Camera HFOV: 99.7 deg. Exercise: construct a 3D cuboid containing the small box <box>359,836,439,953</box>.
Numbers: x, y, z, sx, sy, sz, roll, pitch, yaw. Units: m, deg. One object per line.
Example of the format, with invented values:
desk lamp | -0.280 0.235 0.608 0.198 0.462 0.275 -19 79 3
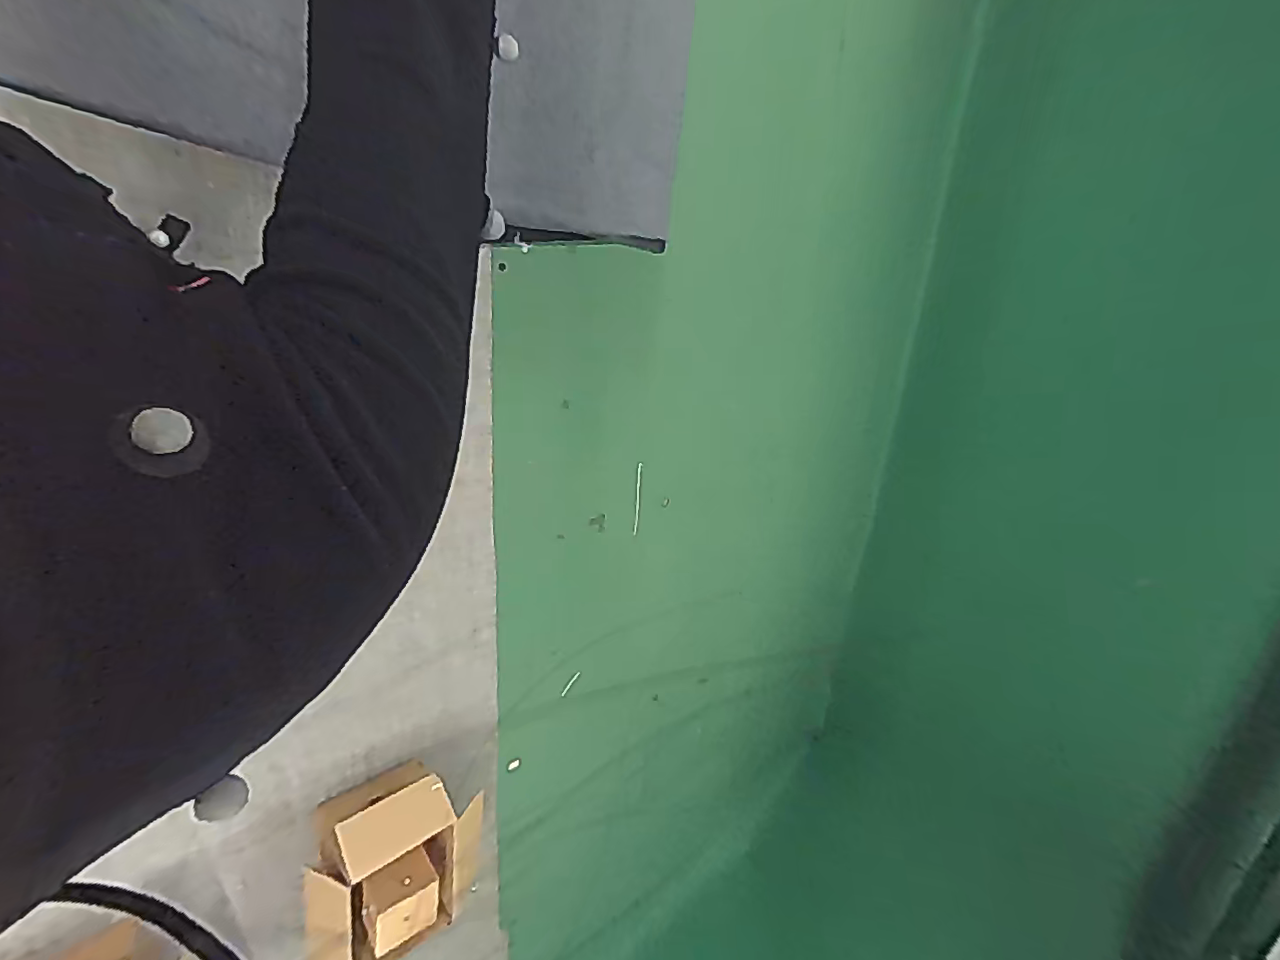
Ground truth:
small box | -0.716 1.212 1.596 0.179 0.176 0.168 -8 112 -44
